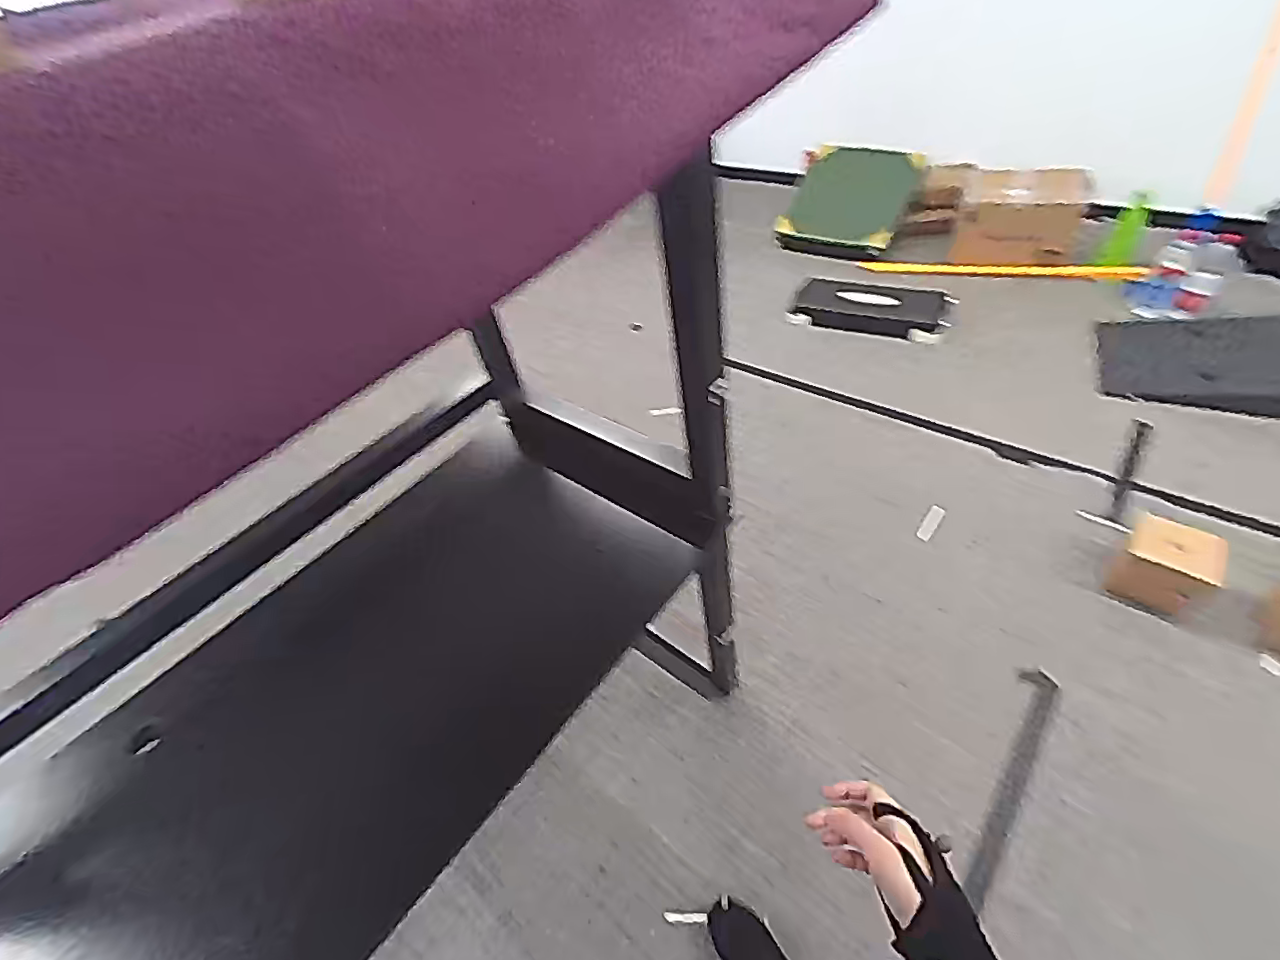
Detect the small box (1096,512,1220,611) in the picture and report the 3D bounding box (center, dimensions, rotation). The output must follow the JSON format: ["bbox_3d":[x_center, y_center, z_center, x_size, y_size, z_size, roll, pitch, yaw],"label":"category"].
[{"bbox_3d":[1.373,0.223,1.440,0.179,0.176,0.168,26,57,30],"label":"small box"}]

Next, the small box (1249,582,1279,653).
[{"bbox_3d":[1.633,0.334,1.289,0.179,0.176,0.168,27,57,30],"label":"small box"}]
